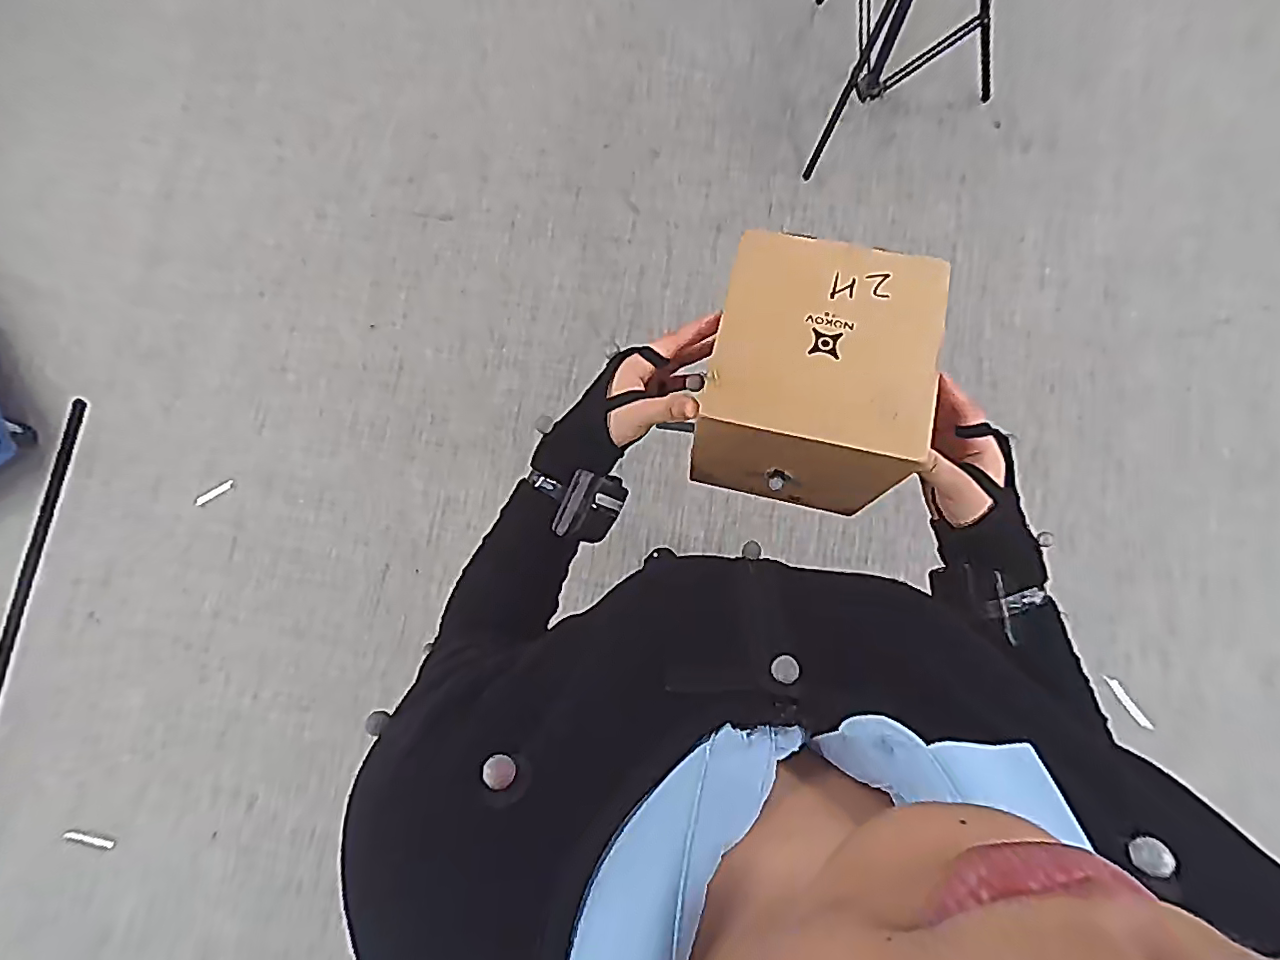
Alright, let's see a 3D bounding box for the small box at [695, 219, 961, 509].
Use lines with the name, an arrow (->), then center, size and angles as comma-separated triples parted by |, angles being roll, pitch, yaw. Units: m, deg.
small box -> 0.147, -0.087, 0.476 | 0.168, 0.176, 0.179 | 14, 74, 6
